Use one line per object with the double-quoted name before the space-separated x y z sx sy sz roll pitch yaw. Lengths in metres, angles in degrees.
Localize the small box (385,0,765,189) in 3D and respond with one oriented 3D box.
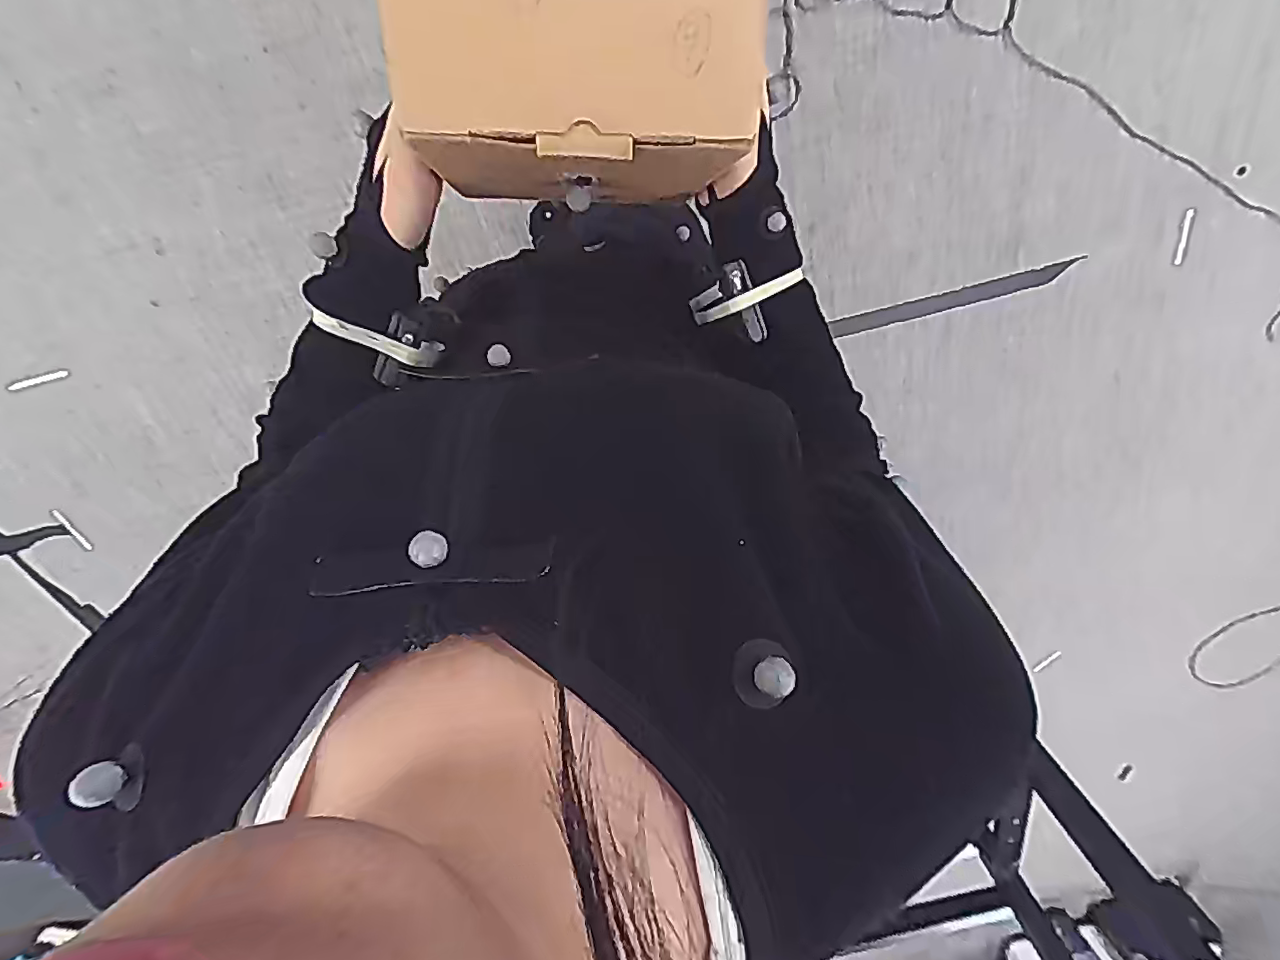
"small box" -0.035 -0.267 0.294 0.168 0.176 0.179 -3 110 -8
